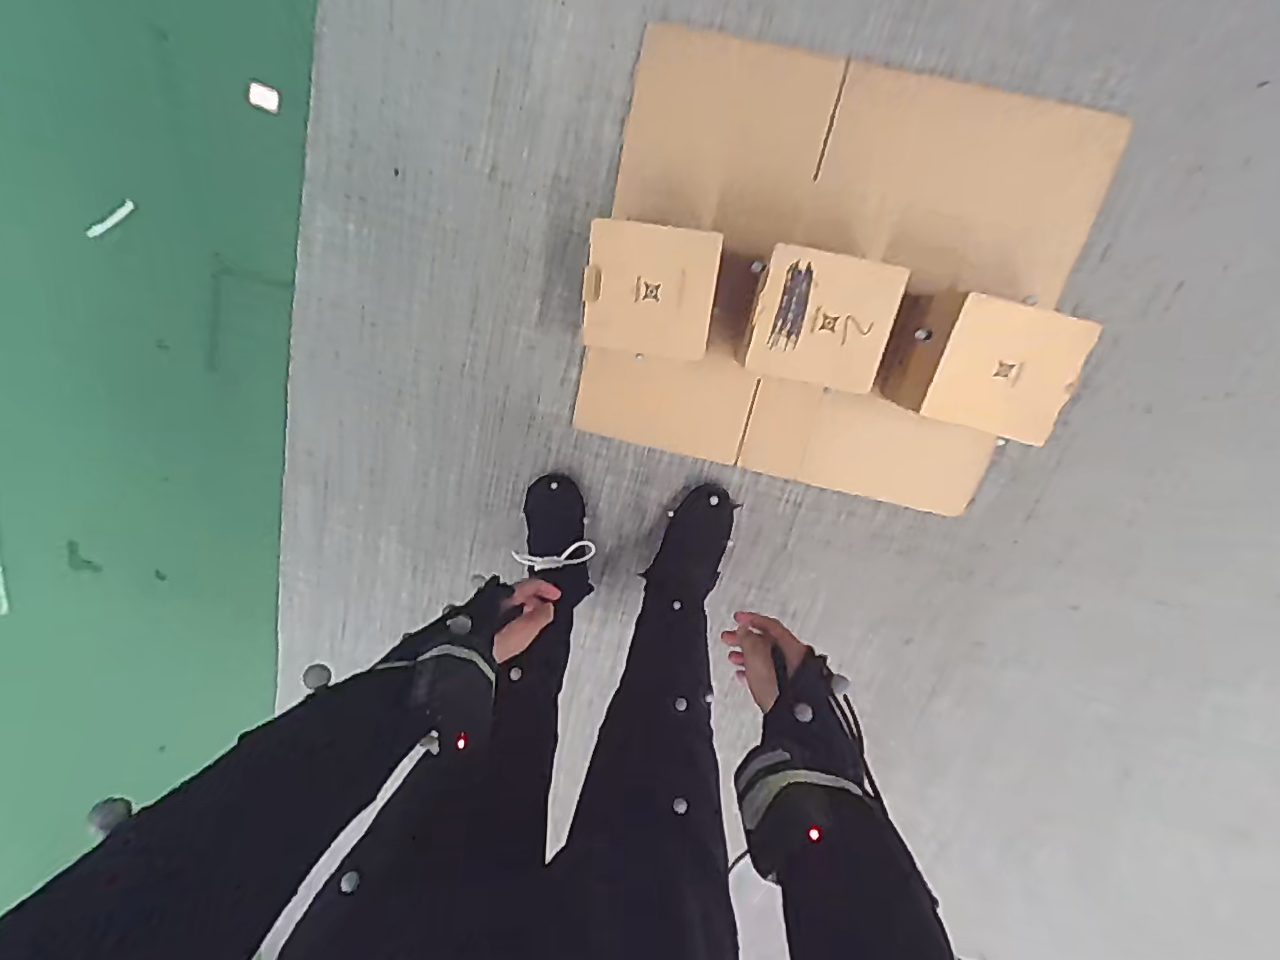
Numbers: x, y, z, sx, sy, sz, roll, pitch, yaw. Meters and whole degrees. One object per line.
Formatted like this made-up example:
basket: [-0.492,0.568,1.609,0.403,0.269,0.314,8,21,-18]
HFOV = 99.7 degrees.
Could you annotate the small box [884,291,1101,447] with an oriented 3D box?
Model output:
small box: [0.481,-0.162,0.775,0.179,0.176,0.168,15,108,1]

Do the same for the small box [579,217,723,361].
small box: [0.019,-0.275,0.795,0.179,0.176,0.168,8,109,3]
